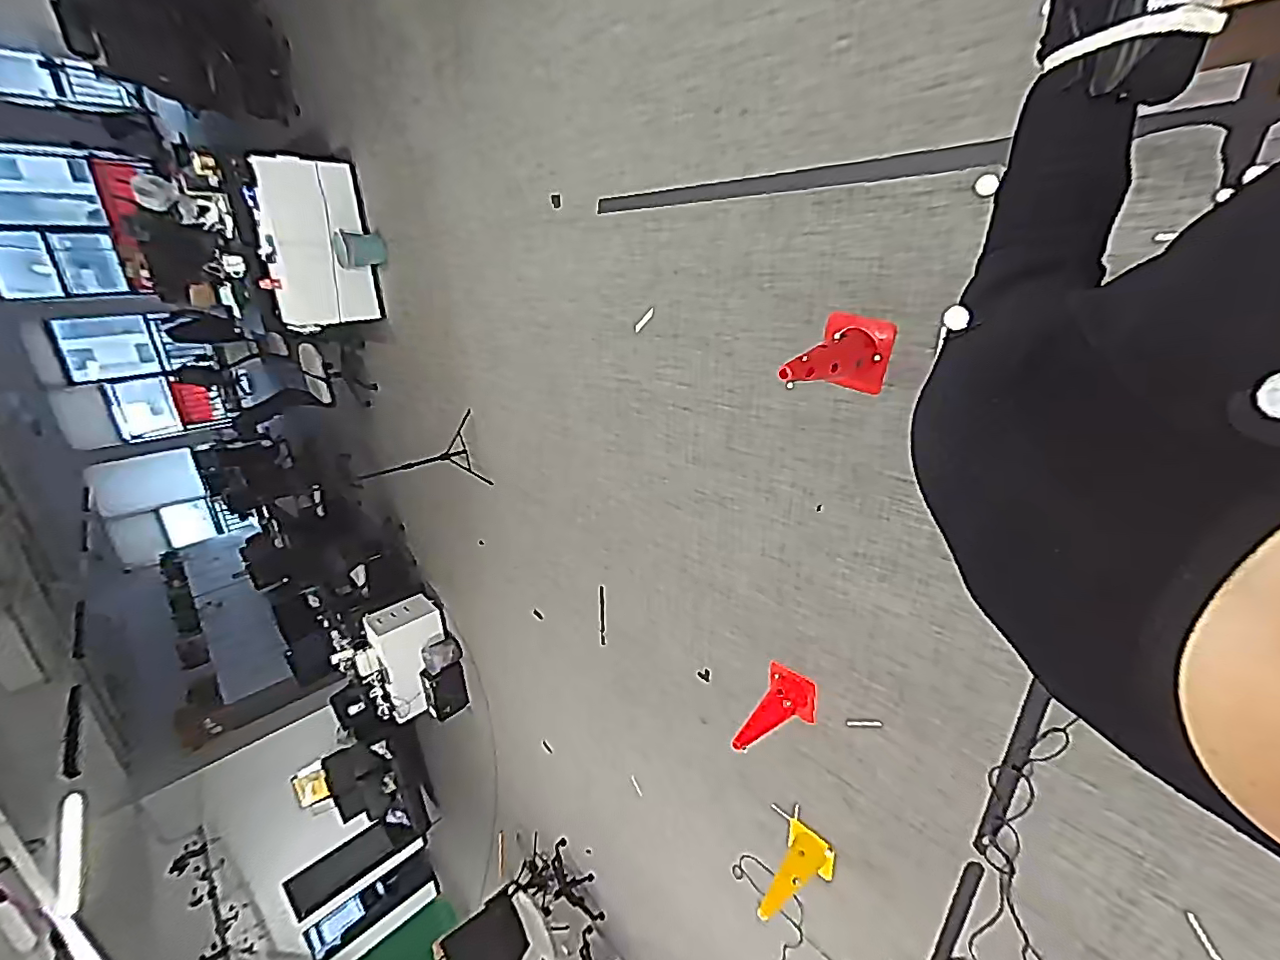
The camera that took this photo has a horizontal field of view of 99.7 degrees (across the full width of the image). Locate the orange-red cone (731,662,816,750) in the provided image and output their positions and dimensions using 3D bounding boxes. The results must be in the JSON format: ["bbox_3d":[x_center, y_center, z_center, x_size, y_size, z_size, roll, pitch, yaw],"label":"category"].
[{"bbox_3d":[0.460,0.864,1.970,0.198,0.360,0.199,19,122,45],"label":"orange-red cone"}]

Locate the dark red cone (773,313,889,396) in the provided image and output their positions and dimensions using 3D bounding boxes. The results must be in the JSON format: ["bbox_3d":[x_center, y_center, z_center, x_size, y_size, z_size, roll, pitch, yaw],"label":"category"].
[{"bbox_3d":[0.465,-0.306,1.403,0.201,0.394,0.202,27,126,38],"label":"dark red cone"}]

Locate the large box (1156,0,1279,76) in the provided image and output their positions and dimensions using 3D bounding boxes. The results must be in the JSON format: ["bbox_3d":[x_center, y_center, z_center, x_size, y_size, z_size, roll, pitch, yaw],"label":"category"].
[{"bbox_3d":[0.566,-0.444,0.256,0.408,0.320,0.320,19,124,42],"label":"large box"}]
